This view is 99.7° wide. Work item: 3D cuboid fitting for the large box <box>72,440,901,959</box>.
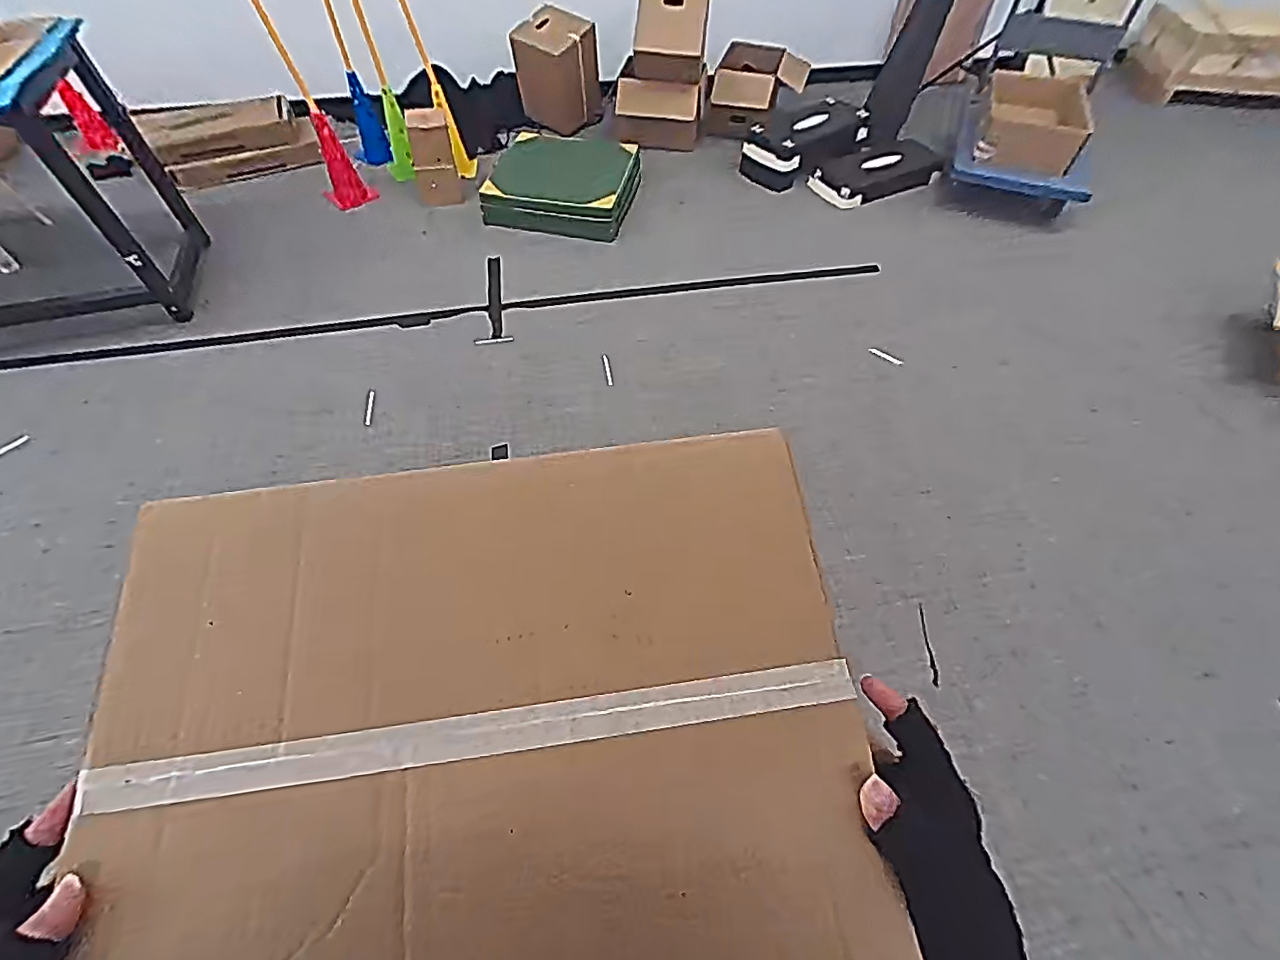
[{"bbox_3d":[-0.086,0.192,0.438,0.408,0.320,0.320,-7,68,-3],"label":"large box"}]
